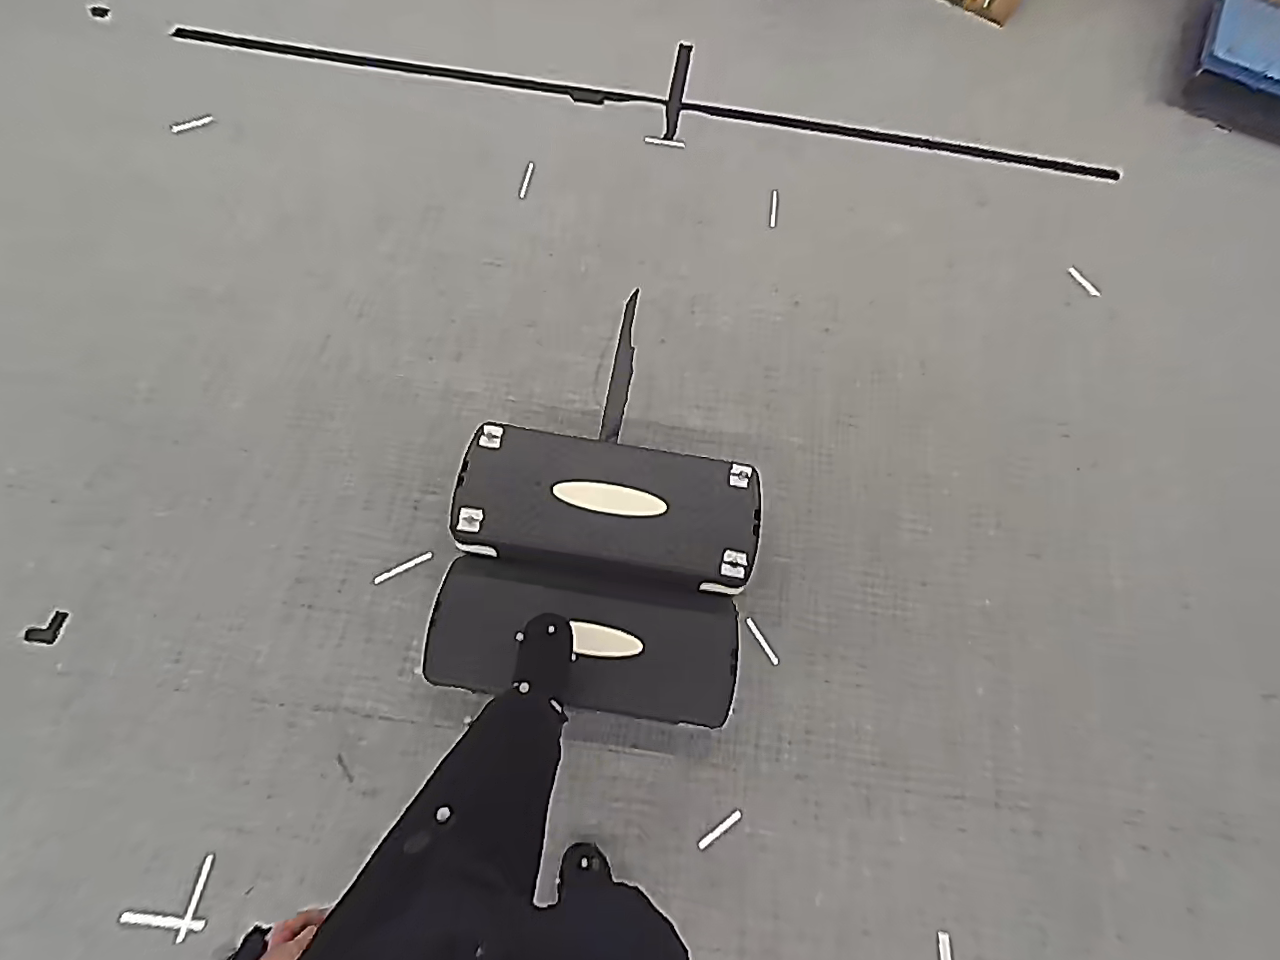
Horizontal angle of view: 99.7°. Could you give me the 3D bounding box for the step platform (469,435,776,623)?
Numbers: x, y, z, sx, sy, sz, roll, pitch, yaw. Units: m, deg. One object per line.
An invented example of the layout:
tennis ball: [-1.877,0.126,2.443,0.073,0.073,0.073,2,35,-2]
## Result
step platform: [-0.036,0.115,1.257,0.684,0.204,0.286,13,67,1]
